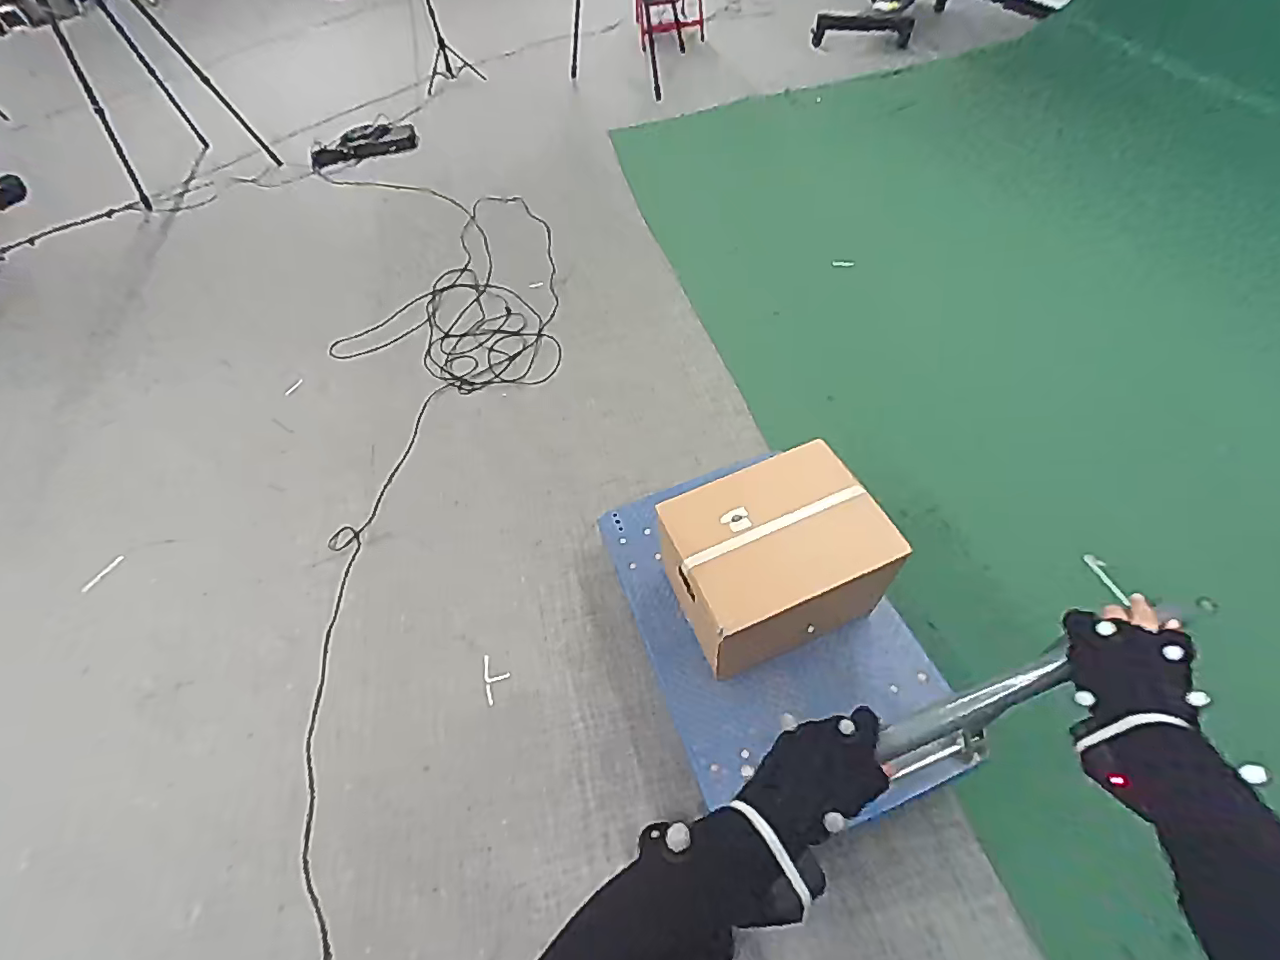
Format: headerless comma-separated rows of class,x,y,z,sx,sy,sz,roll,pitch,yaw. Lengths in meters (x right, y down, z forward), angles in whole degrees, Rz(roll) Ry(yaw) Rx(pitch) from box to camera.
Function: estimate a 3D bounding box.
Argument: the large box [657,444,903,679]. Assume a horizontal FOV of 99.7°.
large box,0.290,0.189,1.218,0.408,0.320,0.320,-23,55,-8
